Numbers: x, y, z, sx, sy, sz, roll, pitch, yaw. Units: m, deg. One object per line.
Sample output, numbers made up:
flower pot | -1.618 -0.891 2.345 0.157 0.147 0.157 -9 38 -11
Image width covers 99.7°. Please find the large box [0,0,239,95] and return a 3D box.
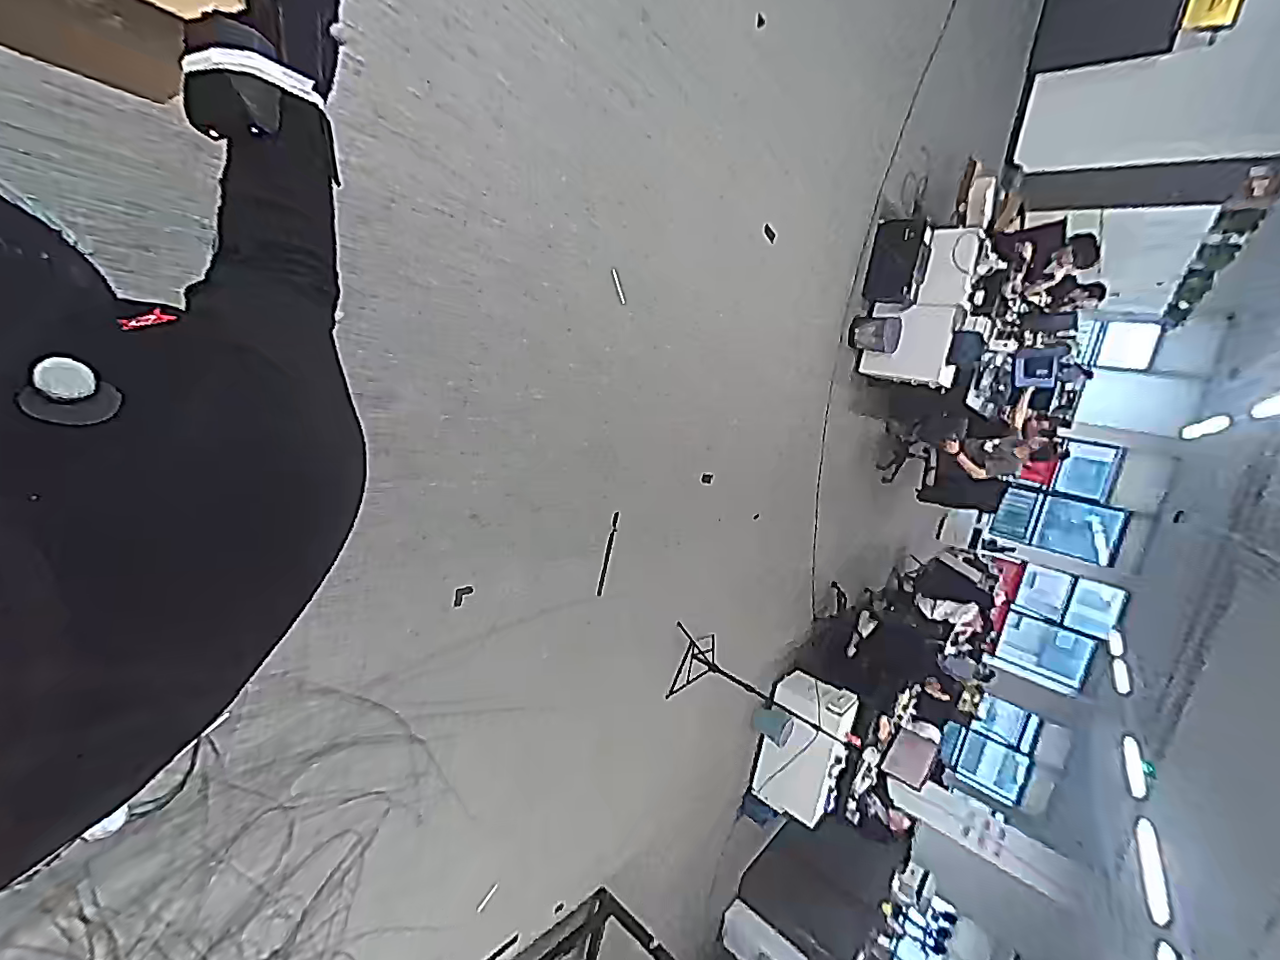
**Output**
large box | -0.507 -0.495 0.300 0.408 0.320 0.320 -4 111 -50
